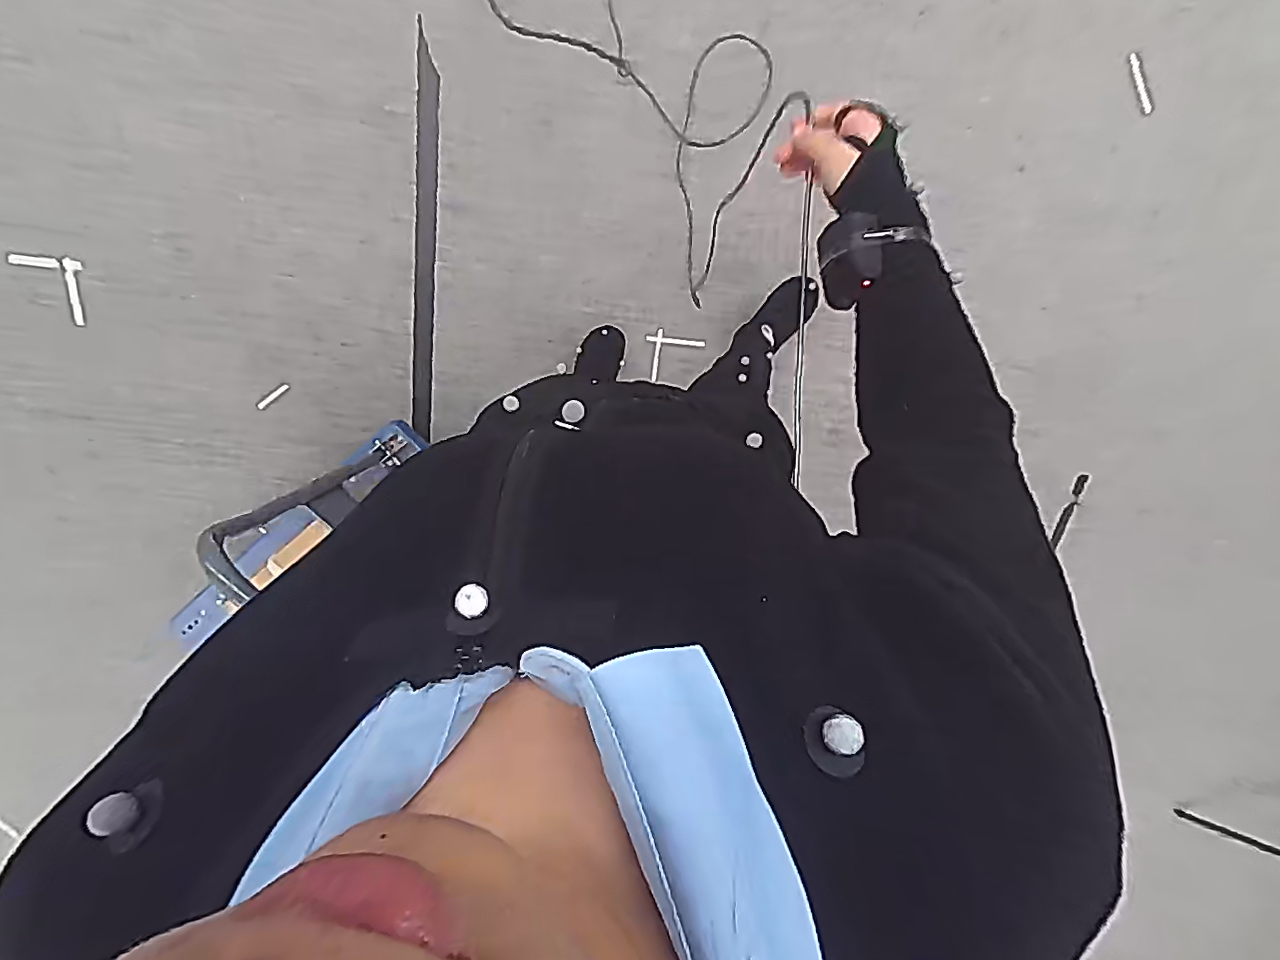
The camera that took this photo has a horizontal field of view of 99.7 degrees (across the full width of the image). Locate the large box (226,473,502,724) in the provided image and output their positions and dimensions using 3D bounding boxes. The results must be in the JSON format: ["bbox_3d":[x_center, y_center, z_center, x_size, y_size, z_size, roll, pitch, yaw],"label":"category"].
[{"bbox_3d":[-0.596,0.258,1.249,0.320,0.320,0.408,-39,103,9],"label":"large box"}]
